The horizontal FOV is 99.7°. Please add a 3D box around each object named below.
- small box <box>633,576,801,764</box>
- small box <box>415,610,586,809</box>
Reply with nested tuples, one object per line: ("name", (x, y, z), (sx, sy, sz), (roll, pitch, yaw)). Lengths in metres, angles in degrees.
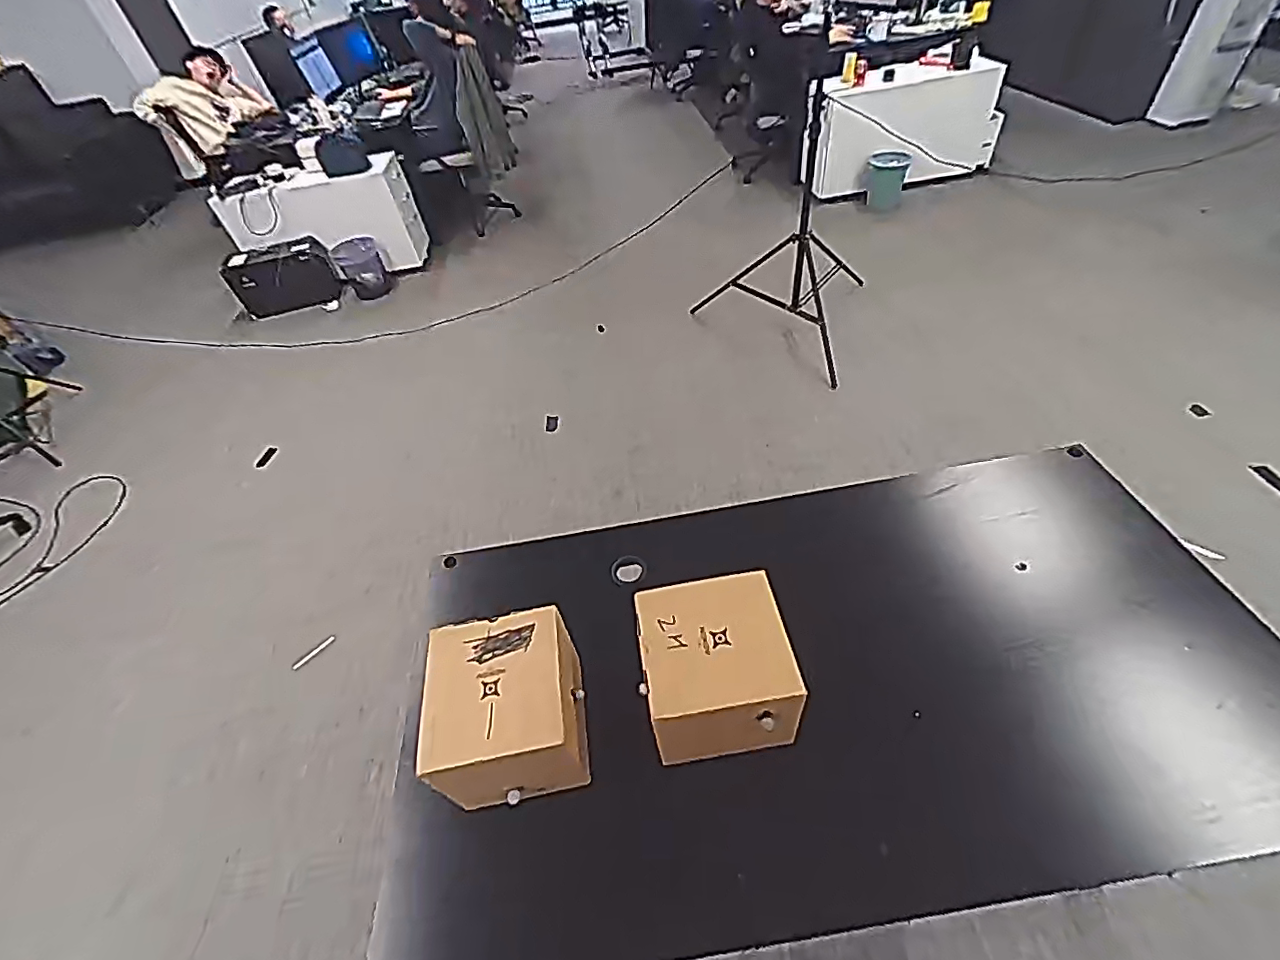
("small box", (0.093, 0.251, 0.709), (0.179, 0.176, 0.168), (-10, 46, 0))
("small box", (-0.170, 0.300, 0.705), (0.168, 0.176, 0.179), (-11, 48, -2))
